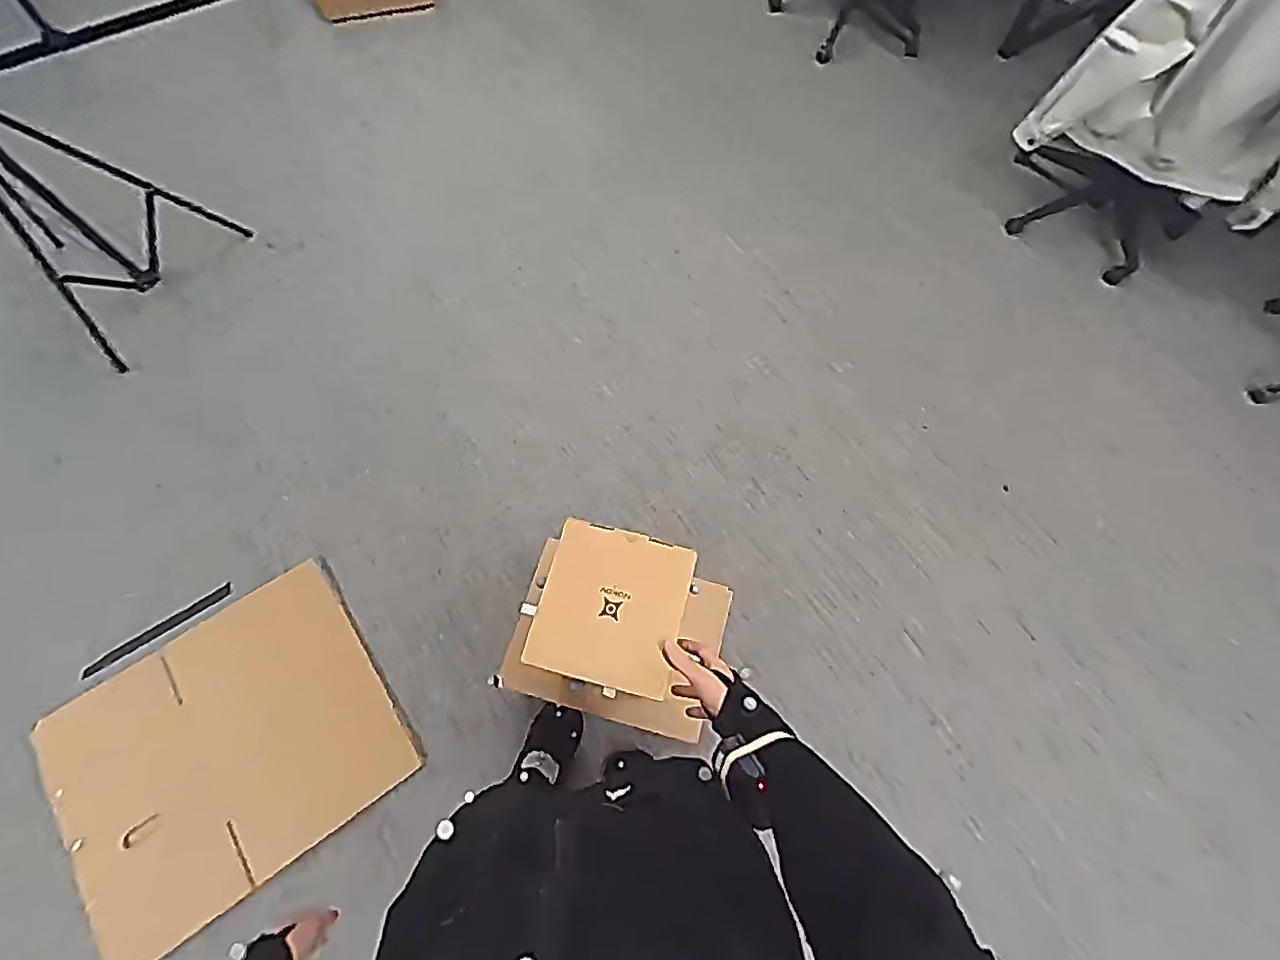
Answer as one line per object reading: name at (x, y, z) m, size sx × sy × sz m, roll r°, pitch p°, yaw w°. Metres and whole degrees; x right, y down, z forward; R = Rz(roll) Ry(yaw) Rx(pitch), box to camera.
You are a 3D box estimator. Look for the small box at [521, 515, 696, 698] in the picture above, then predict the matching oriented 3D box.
small box at (-0.033, 0.169, 0.693) m, size 0.168 × 0.176 × 0.179 m, roll 14°, pitch 68°, yaw 4°
